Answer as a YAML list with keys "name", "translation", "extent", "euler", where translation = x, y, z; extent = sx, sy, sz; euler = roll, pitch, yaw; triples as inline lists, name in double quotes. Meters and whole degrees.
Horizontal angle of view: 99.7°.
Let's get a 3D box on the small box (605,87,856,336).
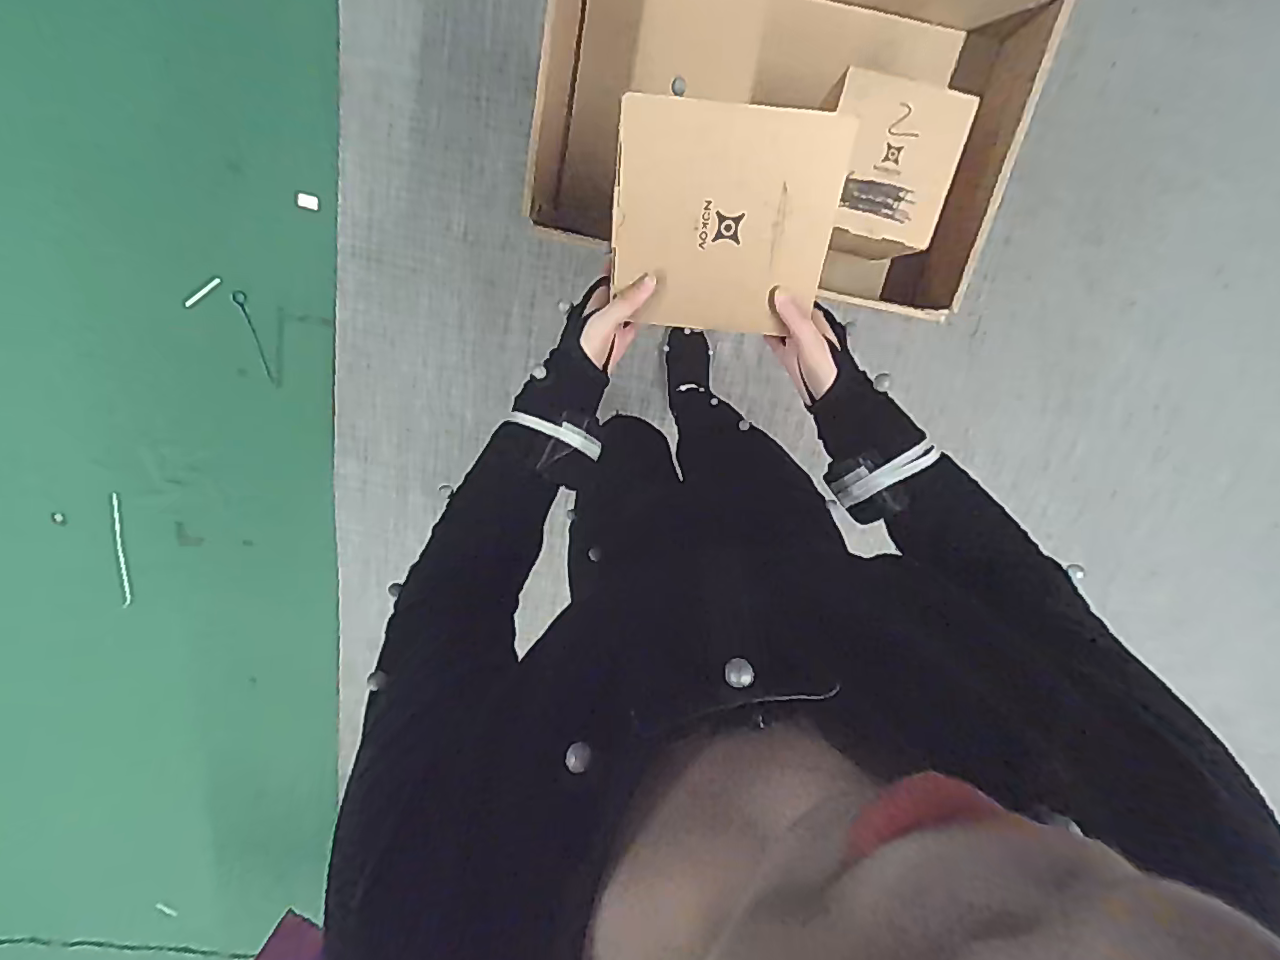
- name: "small box"
  translation: [0.065, -0.246, 0.499]
  extent: [0.179, 0.176, 0.168]
  euler: [5, 122, -2]
